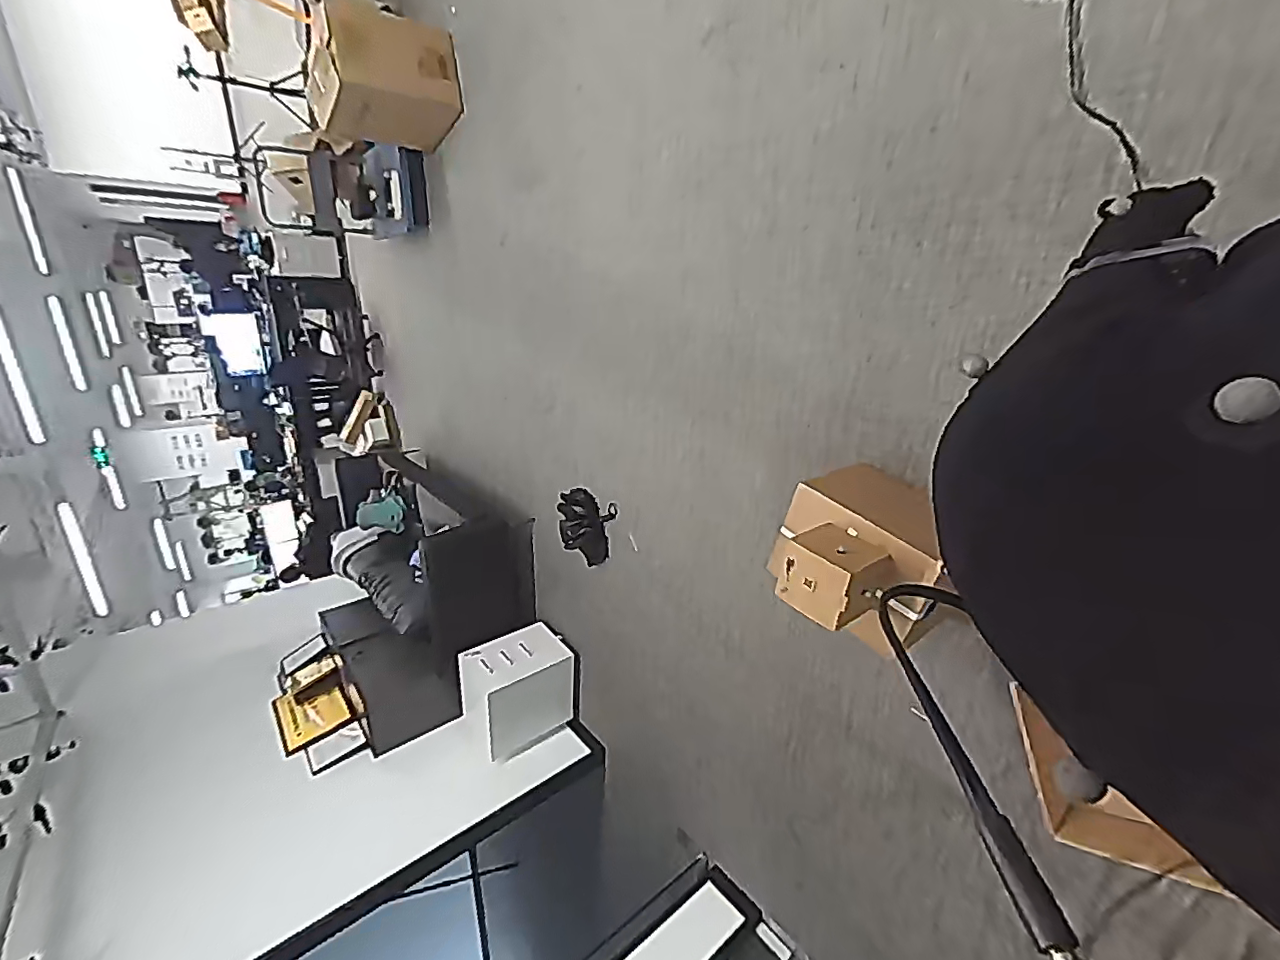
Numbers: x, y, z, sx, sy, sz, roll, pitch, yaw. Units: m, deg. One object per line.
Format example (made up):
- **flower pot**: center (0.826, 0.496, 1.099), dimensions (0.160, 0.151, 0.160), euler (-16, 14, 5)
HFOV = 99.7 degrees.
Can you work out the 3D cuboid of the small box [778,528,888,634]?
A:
- **small box**: center (0.470, 0.235, 1.317), dimensions (0.179, 0.176, 0.168), euler (31, 124, 42)
